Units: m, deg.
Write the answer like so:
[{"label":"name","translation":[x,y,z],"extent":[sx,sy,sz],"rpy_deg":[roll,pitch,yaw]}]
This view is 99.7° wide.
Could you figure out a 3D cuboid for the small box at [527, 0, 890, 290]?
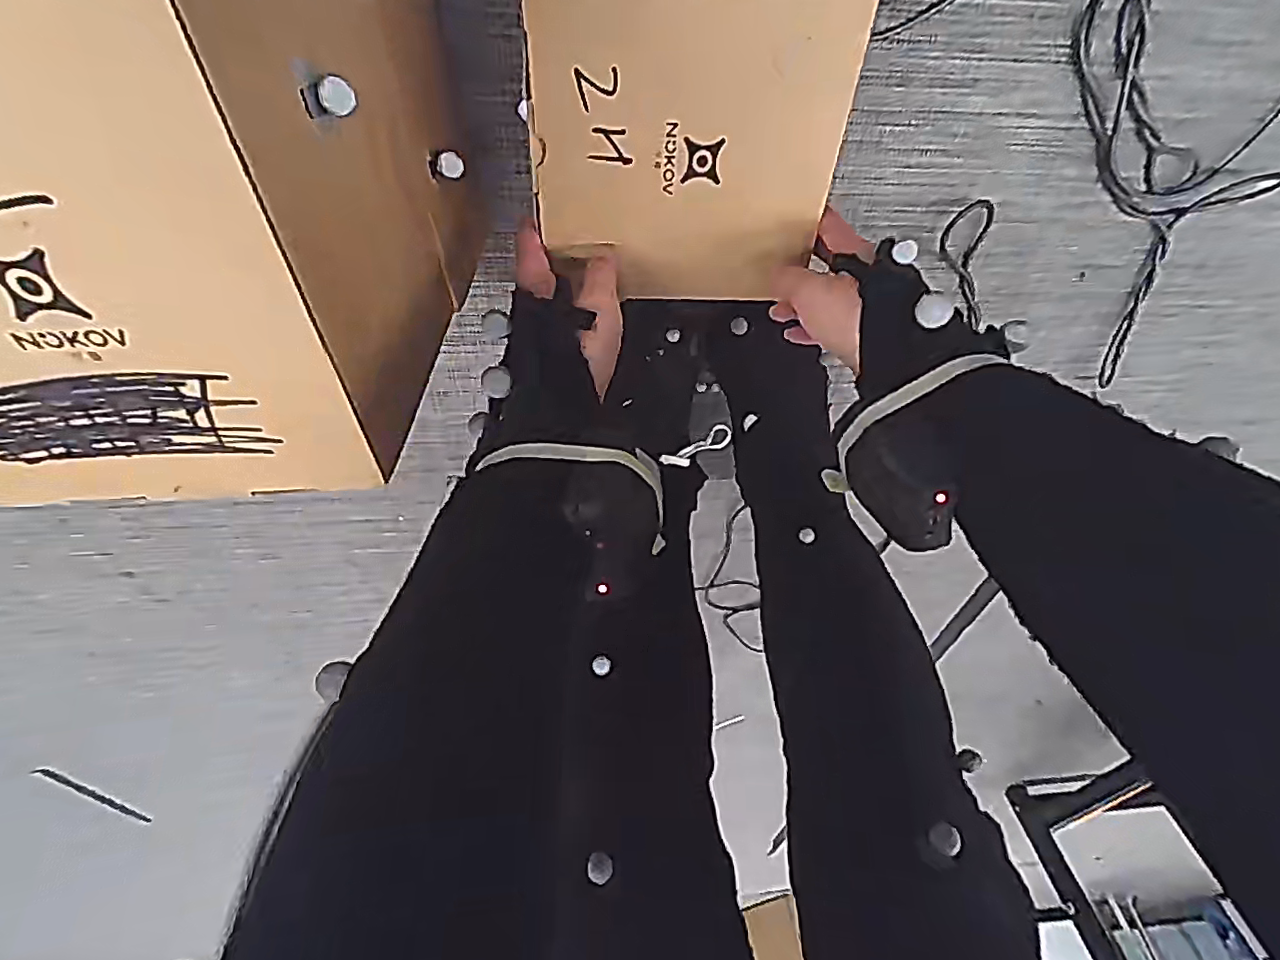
[{"label":"small box","translation":[0.024,-0.240,0.352],"extent":[0.179,0.176,0.168],"rpy_deg":[0,132,-5]}]

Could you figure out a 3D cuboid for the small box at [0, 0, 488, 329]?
[{"label":"small box","translation":[-0.208,-0.224,0.350],"extent":[0.168,0.176,0.179],"rpy_deg":[-6,134,0]}]
